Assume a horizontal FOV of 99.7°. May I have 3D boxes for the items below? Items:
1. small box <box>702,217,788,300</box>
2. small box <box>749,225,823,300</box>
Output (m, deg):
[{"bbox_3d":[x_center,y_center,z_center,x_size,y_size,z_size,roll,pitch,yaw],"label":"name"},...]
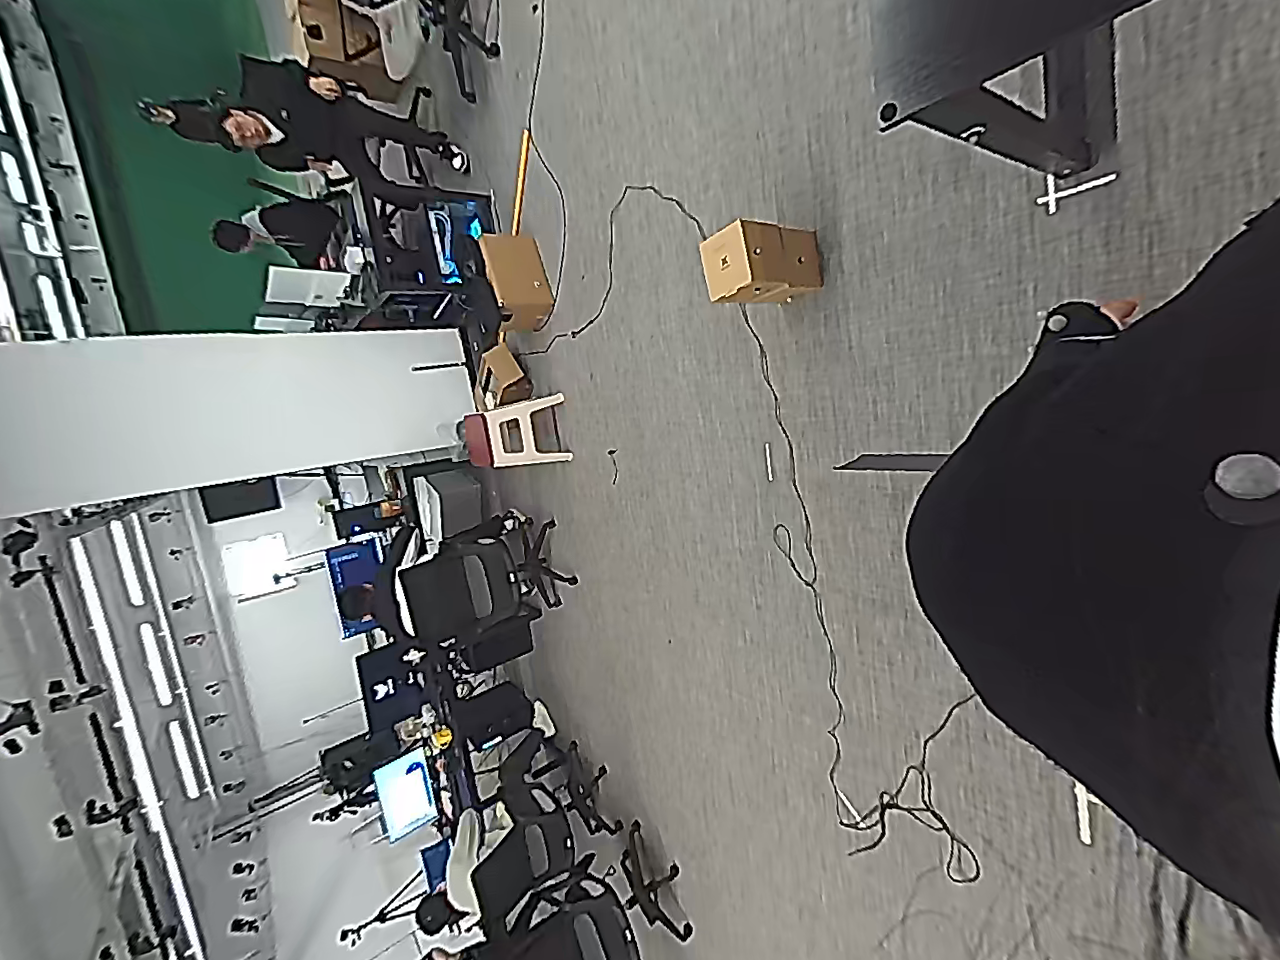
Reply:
[{"bbox_3d":[0.309,-0.635,1.571,0.168,0.176,0.179,-8,93,53],"label":"small box"},{"bbox_3d":[0.439,-0.661,1.665,0.168,0.176,0.179,-3,100,54],"label":"small box"}]
